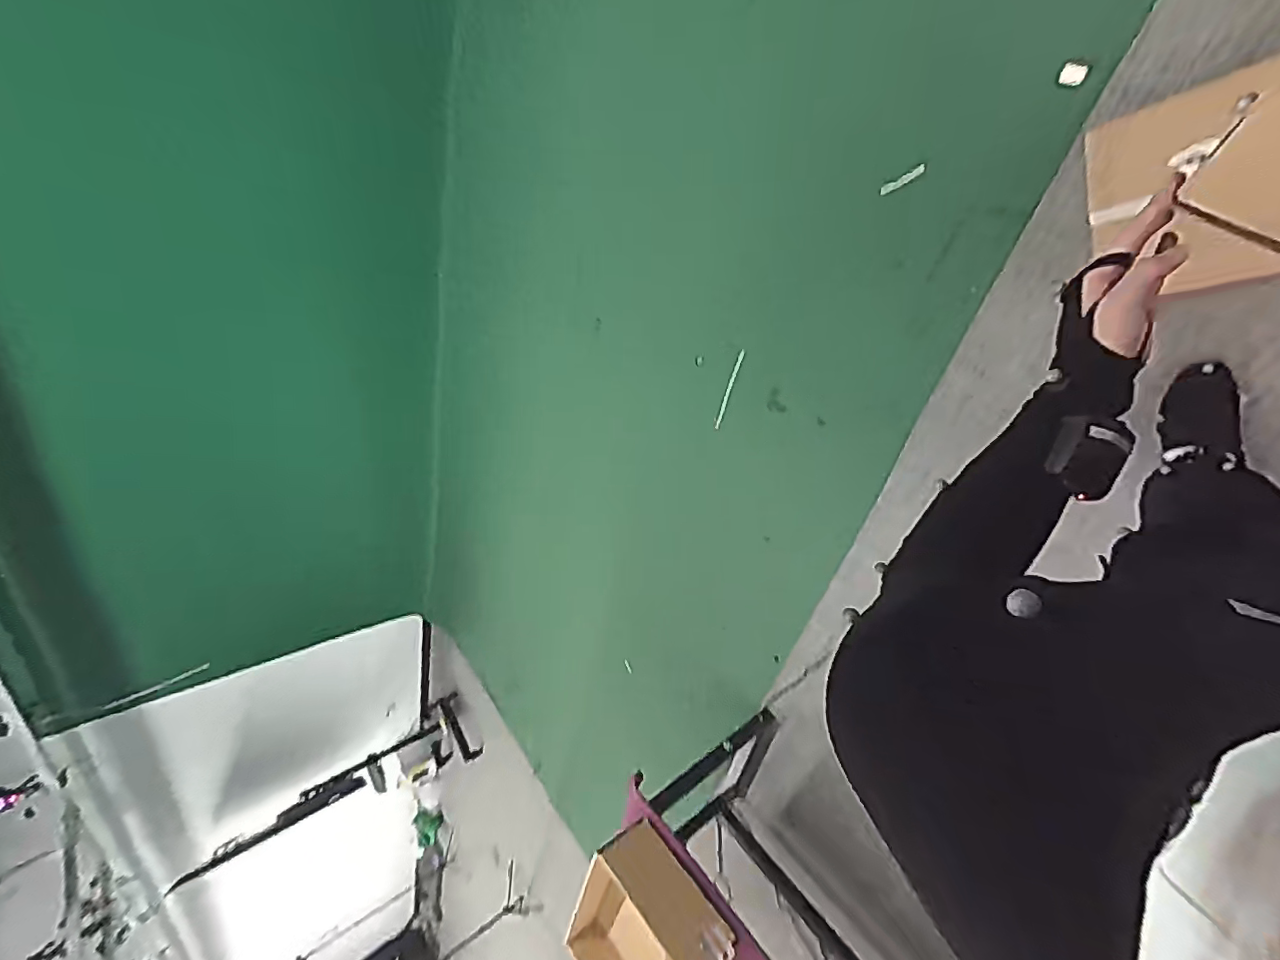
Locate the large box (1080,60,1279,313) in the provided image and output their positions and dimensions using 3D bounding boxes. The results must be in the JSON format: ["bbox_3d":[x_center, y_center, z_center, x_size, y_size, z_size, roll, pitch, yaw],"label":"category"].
[{"bbox_3d":[1.051,-0.490,0.925,0.408,0.320,0.320,-2,98,50],"label":"large box"}]

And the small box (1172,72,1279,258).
[{"bbox_3d":[0.571,-0.260,0.413,0.179,0.176,0.168,44,131,23],"label":"small box"}]
